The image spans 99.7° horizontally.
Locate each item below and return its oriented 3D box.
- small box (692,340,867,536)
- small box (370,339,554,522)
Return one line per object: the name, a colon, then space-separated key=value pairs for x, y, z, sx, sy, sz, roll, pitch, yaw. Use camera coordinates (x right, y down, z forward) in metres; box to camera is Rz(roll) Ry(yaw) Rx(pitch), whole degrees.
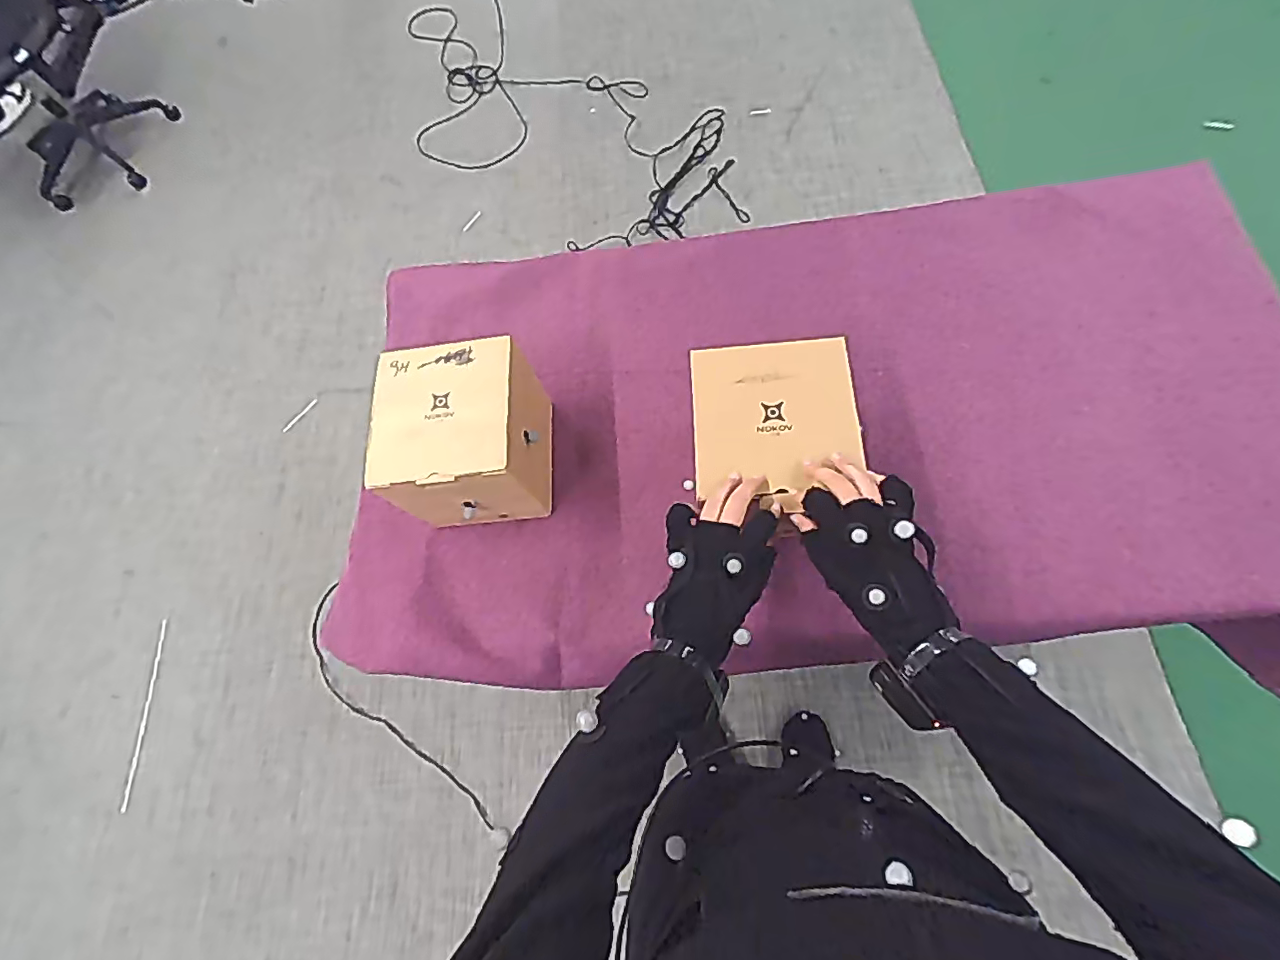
small box: x=0.149 y=-0.035 z=0.626 sx=0.168 sy=0.176 sz=0.179 roll=-3 pitch=69 yaw=7
small box: x=-0.211 y=-0.050 z=0.687 sx=0.168 sy=0.176 sz=0.179 roll=-6 pitch=69 yaw=6
